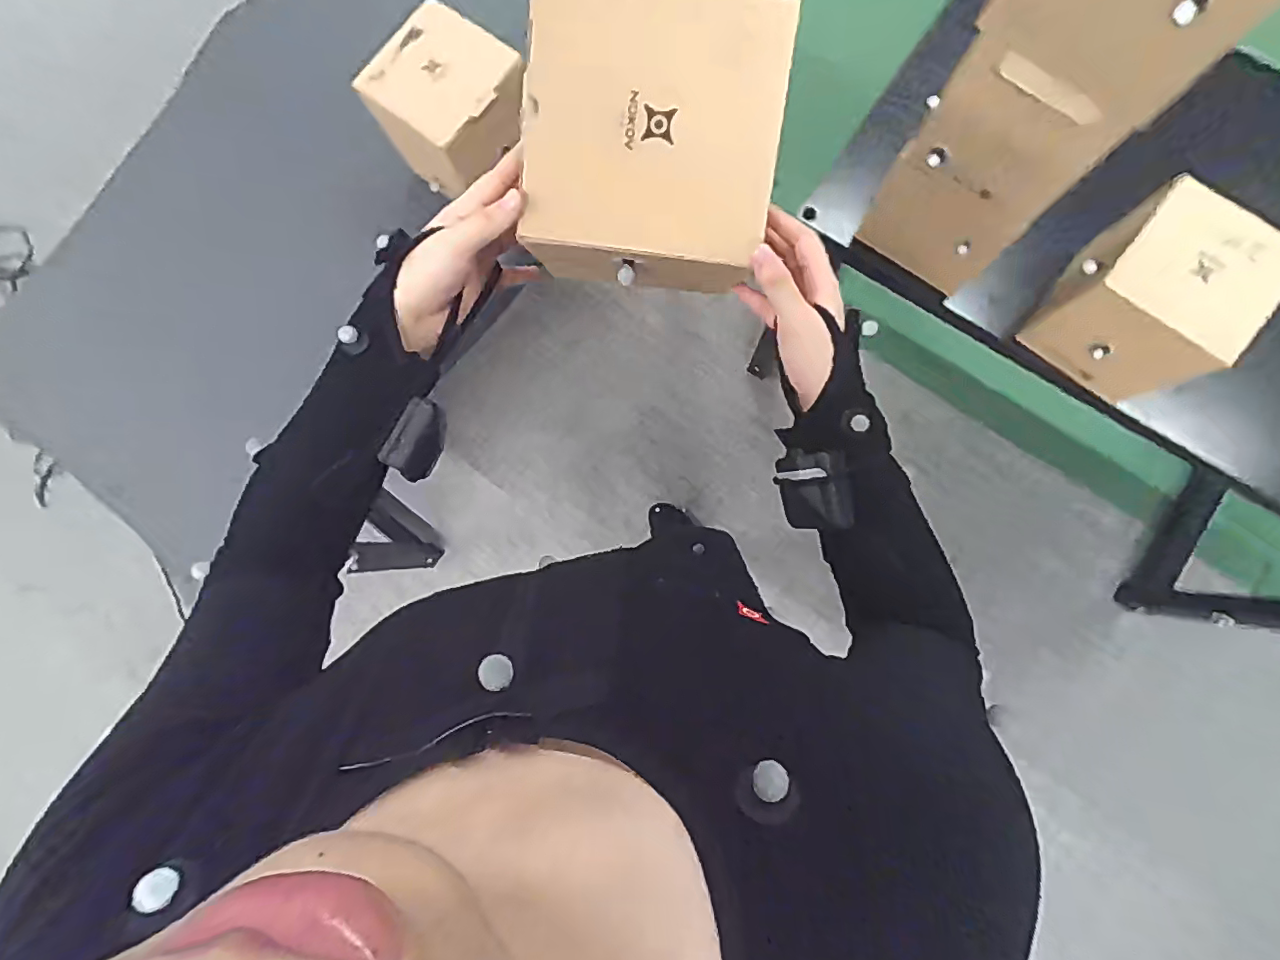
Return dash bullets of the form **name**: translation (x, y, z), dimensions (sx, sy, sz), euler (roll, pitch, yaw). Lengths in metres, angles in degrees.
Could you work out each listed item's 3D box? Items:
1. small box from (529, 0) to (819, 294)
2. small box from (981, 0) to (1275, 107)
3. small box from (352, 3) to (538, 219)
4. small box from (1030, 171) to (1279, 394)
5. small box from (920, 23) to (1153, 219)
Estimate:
- **small box**: translation (0.020, -0.251, 0.437), dimensions (0.179, 0.176, 0.168), euler (7, 103, 0)
- **small box**: translation (0.418, -0.435, 0.409), dimensions (0.179, 0.176, 0.168), euler (38, 85, 7)
- **small box**: translation (-0.265, -0.524, 0.796), dimensions (0.179, 0.176, 0.168), euler (38, 87, 9)
- **small box**: translation (0.657, -0.238, 0.698), dimensions (0.168, 0.176, 0.179), euler (38, 86, 7)
- **small box**: translation (0.433, -0.421, 0.571), dimensions (0.168, 0.176, 0.179), euler (38, 86, 6)
